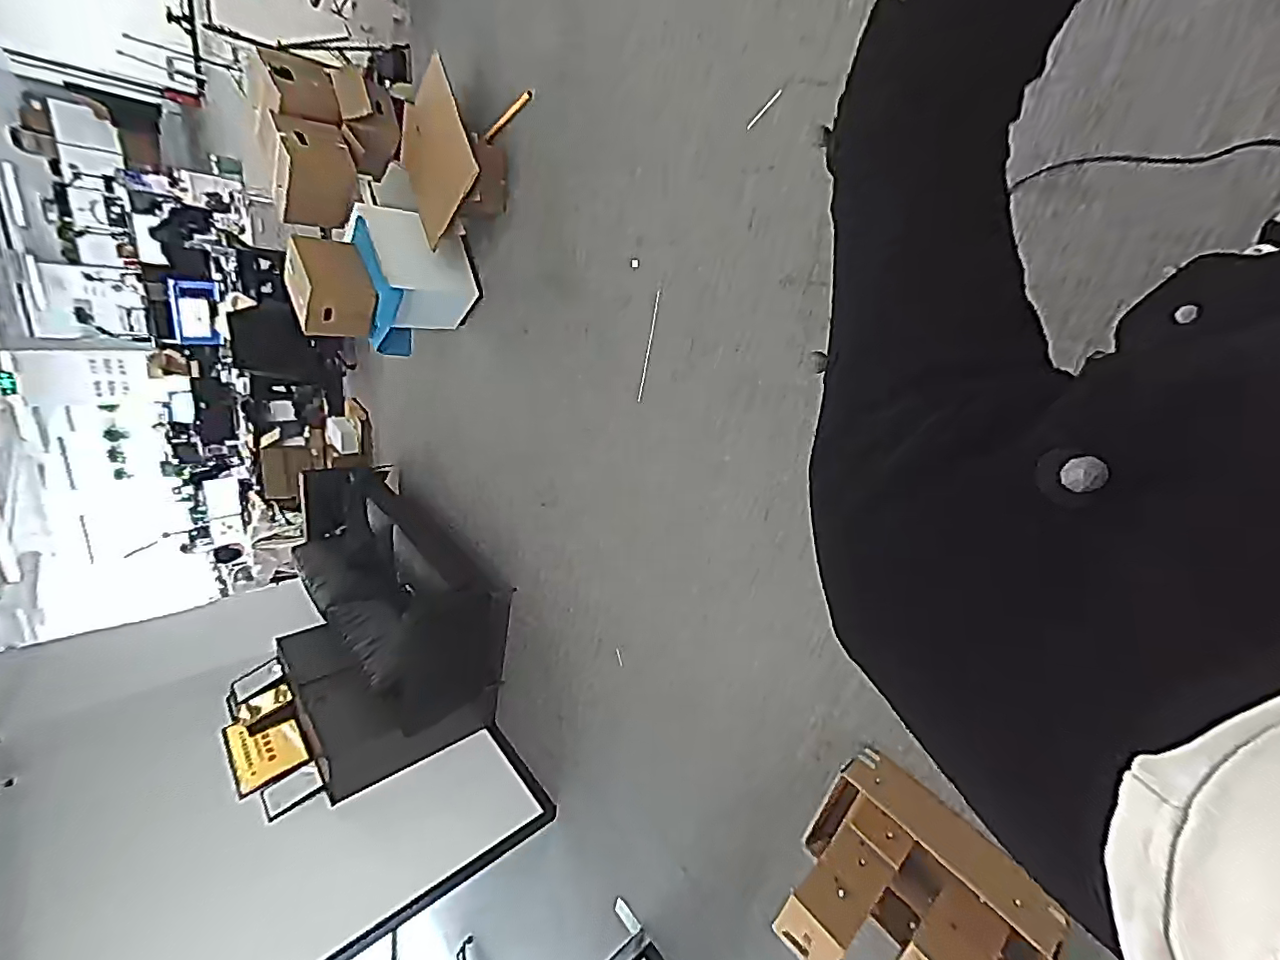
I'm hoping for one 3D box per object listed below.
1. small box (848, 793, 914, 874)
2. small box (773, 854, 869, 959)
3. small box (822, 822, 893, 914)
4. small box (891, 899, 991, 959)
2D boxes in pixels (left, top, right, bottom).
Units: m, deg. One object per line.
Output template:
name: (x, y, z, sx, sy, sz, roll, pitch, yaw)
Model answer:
small box: (0.749, 1.153, 1.732, 0.168, 0.176, 0.179, 35, 123, 36)
small box: (0.509, 1.208, 1.512, 0.168, 0.176, 0.179, 35, 122, 36)
small box: (0.629, 1.180, 1.622, 0.168, 0.176, 0.179, 35, 123, 36)
small box: (0.805, 1.292, 1.451, 0.168, 0.176, 0.179, 34, 122, 38)
